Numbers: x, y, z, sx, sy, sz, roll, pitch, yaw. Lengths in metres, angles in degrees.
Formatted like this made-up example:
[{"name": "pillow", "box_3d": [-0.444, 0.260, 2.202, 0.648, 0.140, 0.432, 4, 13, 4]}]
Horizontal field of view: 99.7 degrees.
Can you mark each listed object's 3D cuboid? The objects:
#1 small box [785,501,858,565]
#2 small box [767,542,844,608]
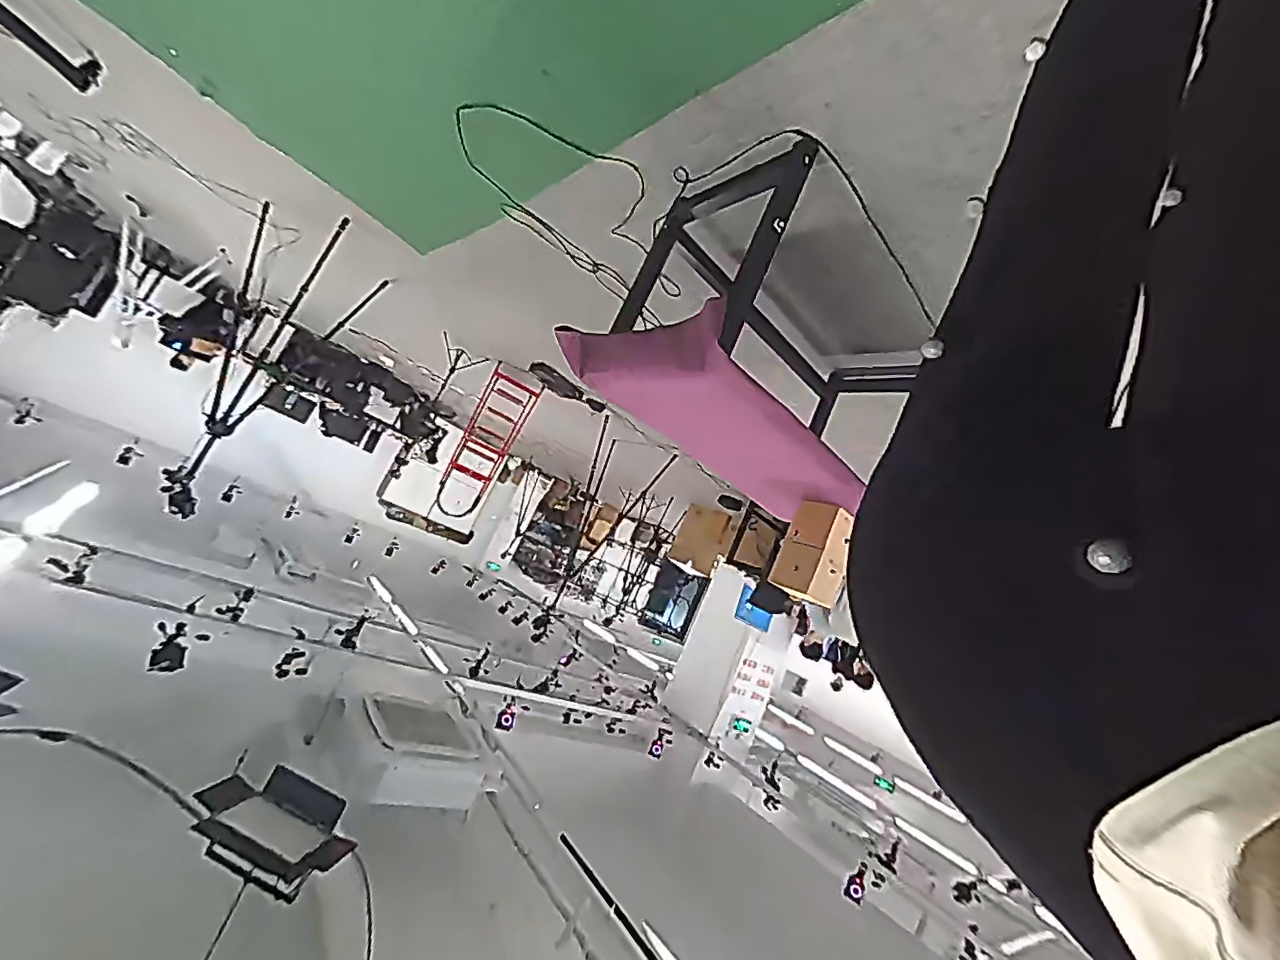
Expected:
[{"name": "small box", "box_3d": [0.666, 0.187, 1.963, 0.168, 0.176, 0.179, 31, 169, -35]}, {"name": "small box", "box_3d": [0.596, 0.334, 1.937, 0.168, 0.176, 0.179, 31, 168, -35]}]
